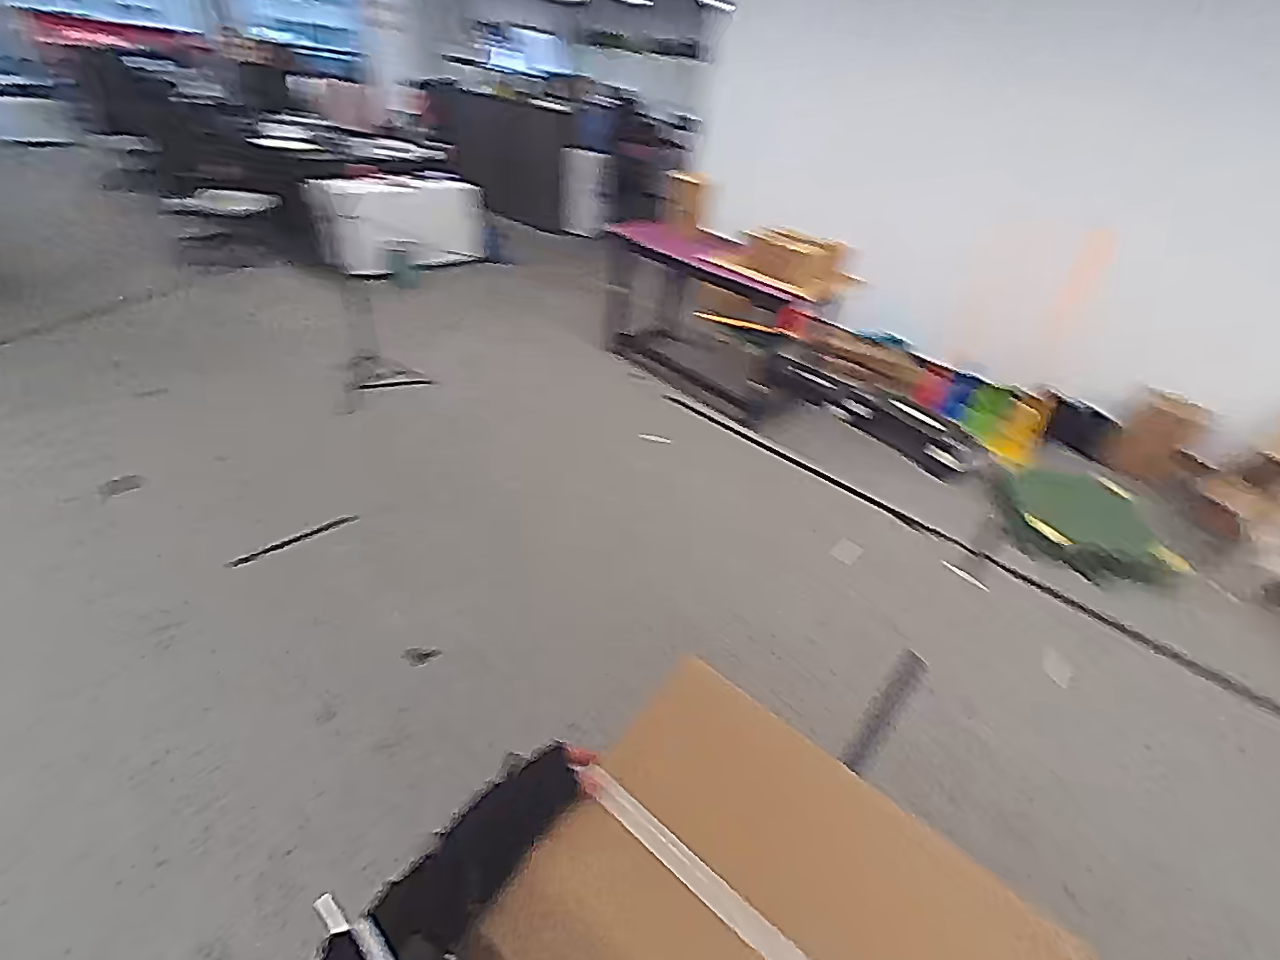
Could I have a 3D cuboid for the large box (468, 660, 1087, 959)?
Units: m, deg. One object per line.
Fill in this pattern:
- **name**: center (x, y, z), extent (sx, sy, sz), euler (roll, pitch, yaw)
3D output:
- **large box**: center (0.101, 0.468, 0.528), extent (0.408, 0.320, 0.320), euler (32, 51, 23)
